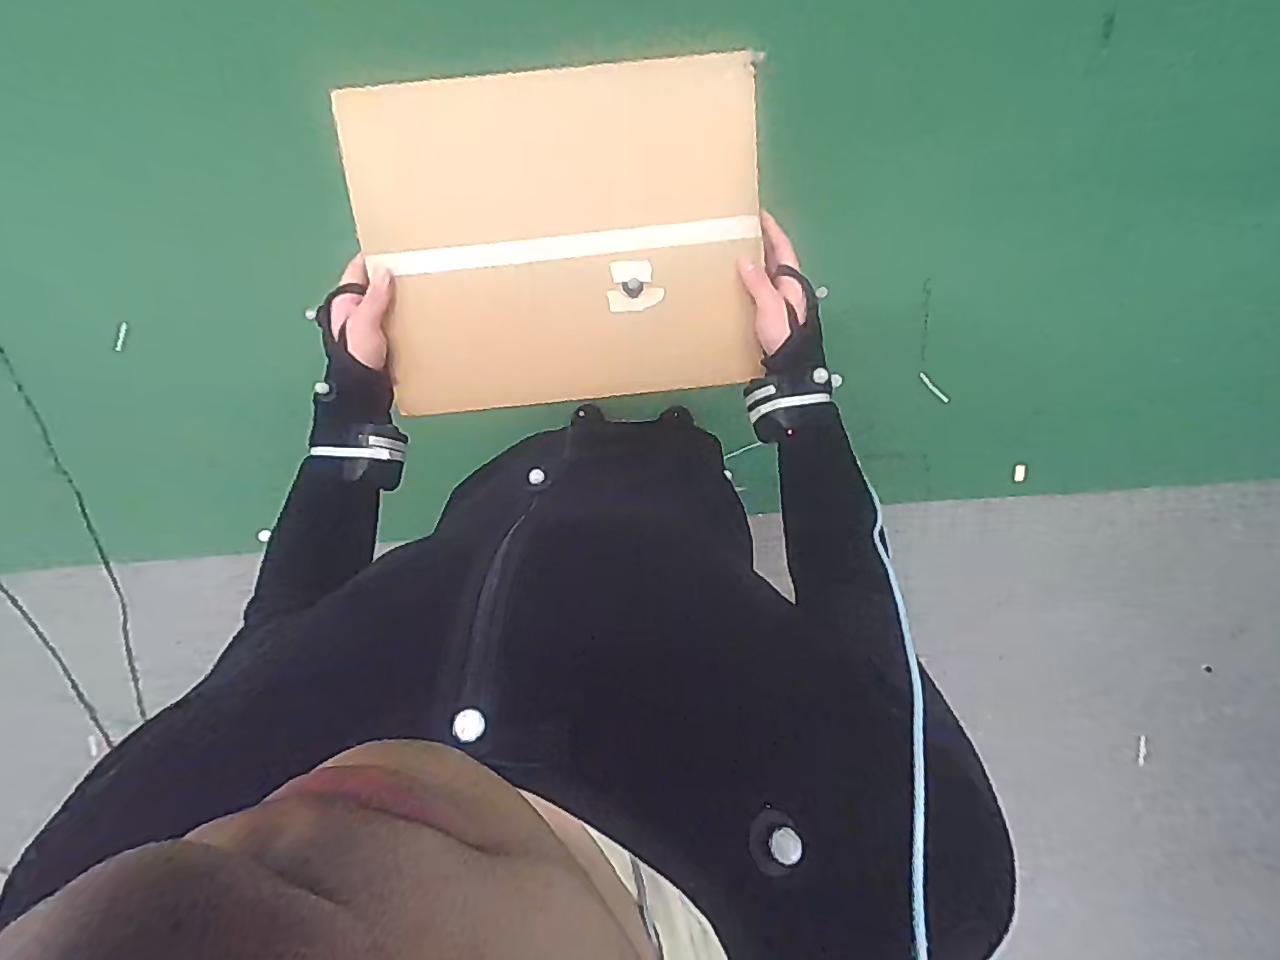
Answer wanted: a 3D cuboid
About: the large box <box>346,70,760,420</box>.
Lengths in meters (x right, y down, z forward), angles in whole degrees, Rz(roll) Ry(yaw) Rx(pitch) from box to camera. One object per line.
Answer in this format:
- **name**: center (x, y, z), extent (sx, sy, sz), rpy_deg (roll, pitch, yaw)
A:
- **large box**: center (-0.086, -0.272, 0.713), extent (0.408, 0.320, 0.320), rpy_deg (-6, 105, -1)
